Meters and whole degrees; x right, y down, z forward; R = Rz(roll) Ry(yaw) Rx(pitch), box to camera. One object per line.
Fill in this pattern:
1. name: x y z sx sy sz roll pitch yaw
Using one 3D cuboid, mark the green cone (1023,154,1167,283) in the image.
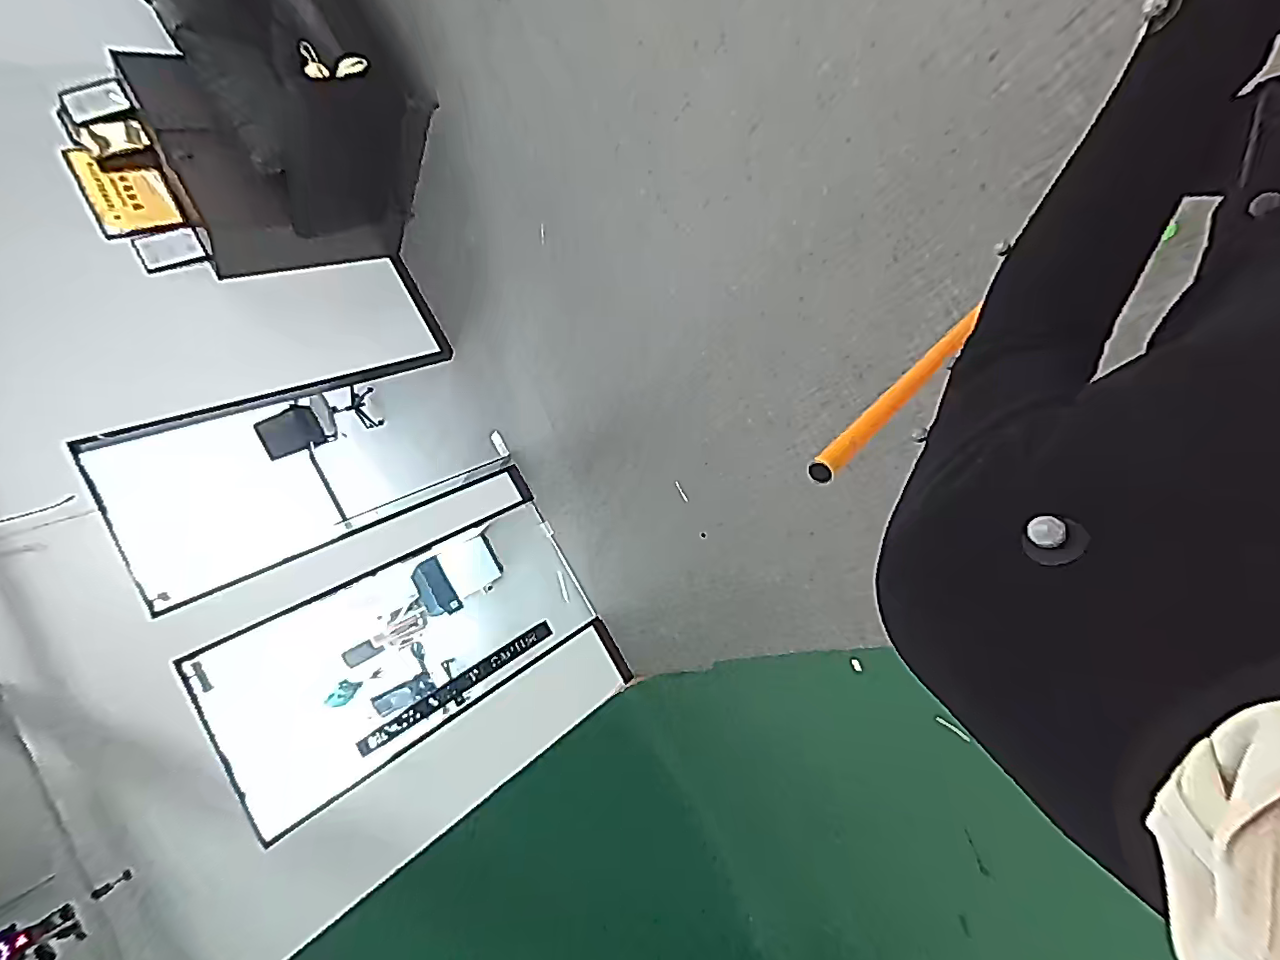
1. green cone: 0.876 -0.506 1.090 0.202 0.368 0.200 -33 86 52
